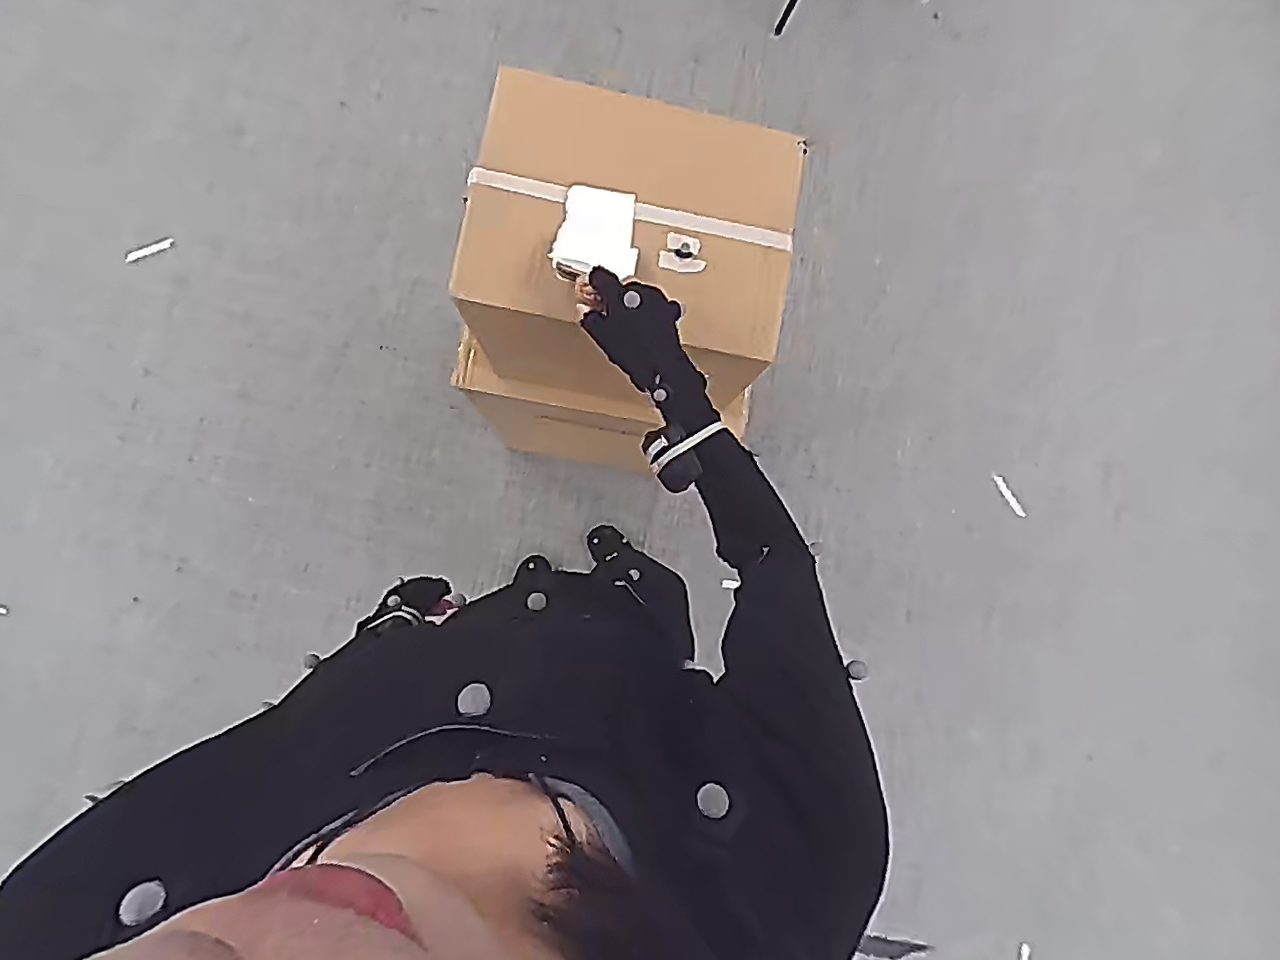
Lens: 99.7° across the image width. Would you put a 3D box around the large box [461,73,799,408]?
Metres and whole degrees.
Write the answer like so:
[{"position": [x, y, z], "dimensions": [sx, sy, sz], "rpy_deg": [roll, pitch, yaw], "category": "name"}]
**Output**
[{"position": [-0.020, -0.327, 0.837], "dimensions": [0.408, 0.320, 0.320], "rpy_deg": [10, 83, -5], "category": "large box"}]
